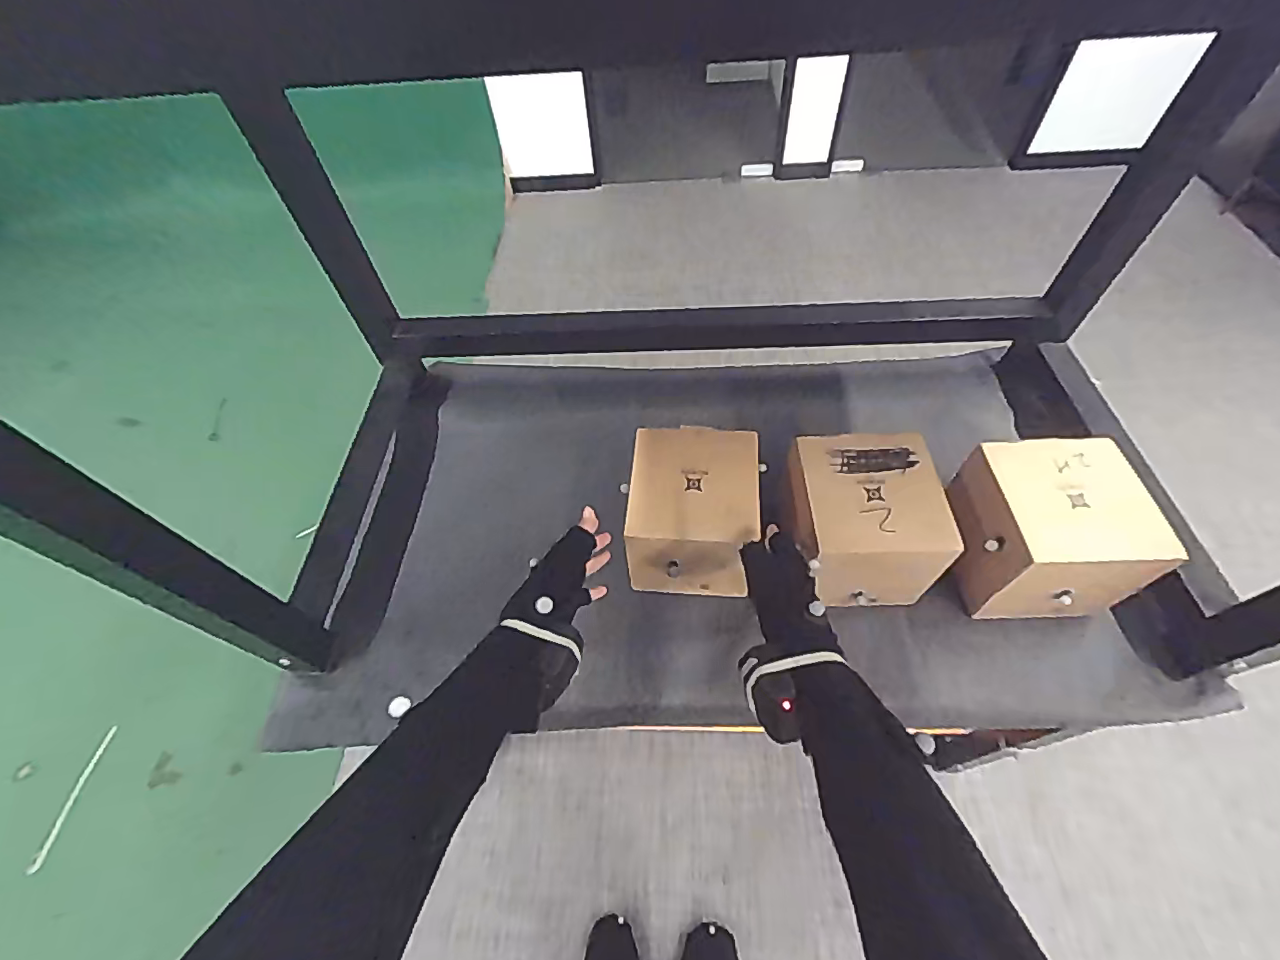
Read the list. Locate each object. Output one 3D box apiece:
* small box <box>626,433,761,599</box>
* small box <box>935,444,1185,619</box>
[{"bbox_3d":[0.077,0.054,0.759,0.168,0.176,0.179,2,55,6],"label":"small box"},{"bbox_3d":[0.523,0.074,0.709,0.168,0.176,0.179,-2,54,2],"label":"small box"}]
